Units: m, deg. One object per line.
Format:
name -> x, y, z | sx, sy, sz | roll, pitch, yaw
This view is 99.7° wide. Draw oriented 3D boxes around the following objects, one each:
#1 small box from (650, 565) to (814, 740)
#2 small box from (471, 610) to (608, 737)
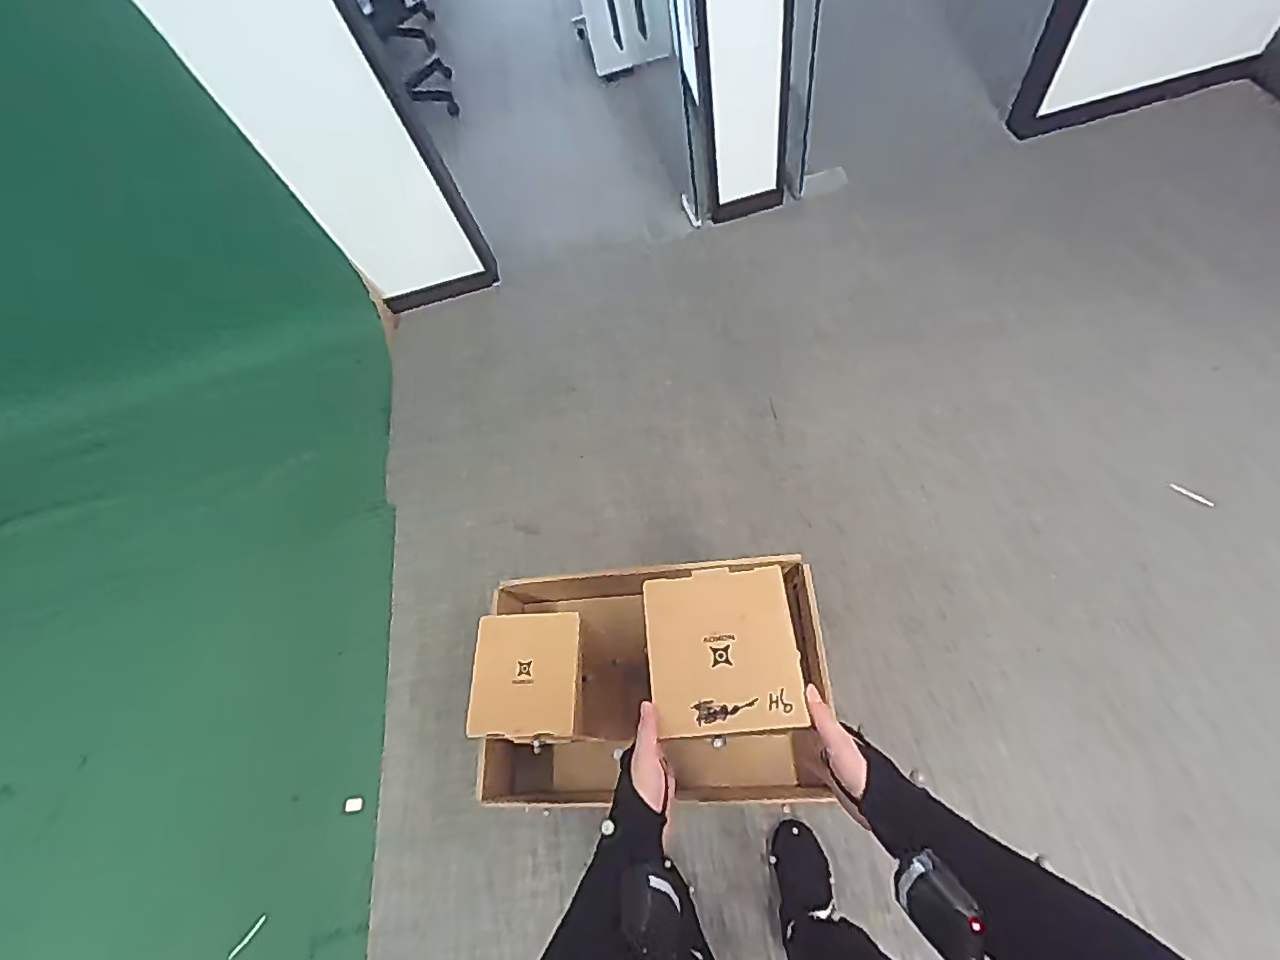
small box -> 0.108, 0.221, 0.673 | 0.168, 0.176, 0.179 | -8, 63, 7
small box -> -0.152, 0.320, 0.881 | 0.168, 0.176, 0.179 | -5, 64, 10
